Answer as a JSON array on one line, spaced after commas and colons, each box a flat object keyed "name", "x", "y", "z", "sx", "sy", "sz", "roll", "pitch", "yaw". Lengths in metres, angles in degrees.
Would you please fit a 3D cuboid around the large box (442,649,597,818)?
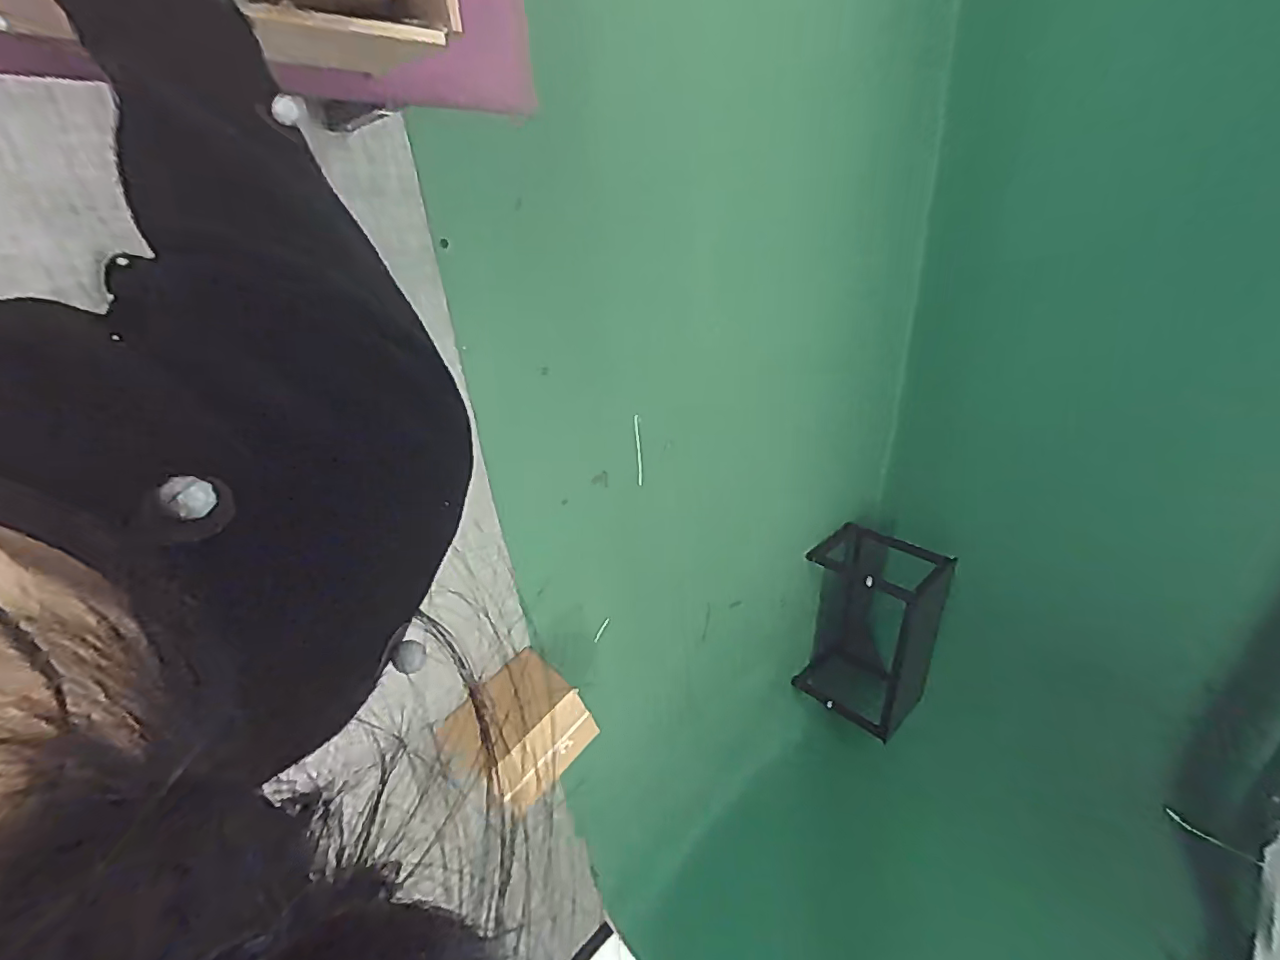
[{"name": "large box", "x": -0.438, "y": 0.921, "z": 1.999, "sx": 0.408, "sy": 0.320, "sz": 0.320, "roll": -41, "pitch": 132, "yaw": -28}]
